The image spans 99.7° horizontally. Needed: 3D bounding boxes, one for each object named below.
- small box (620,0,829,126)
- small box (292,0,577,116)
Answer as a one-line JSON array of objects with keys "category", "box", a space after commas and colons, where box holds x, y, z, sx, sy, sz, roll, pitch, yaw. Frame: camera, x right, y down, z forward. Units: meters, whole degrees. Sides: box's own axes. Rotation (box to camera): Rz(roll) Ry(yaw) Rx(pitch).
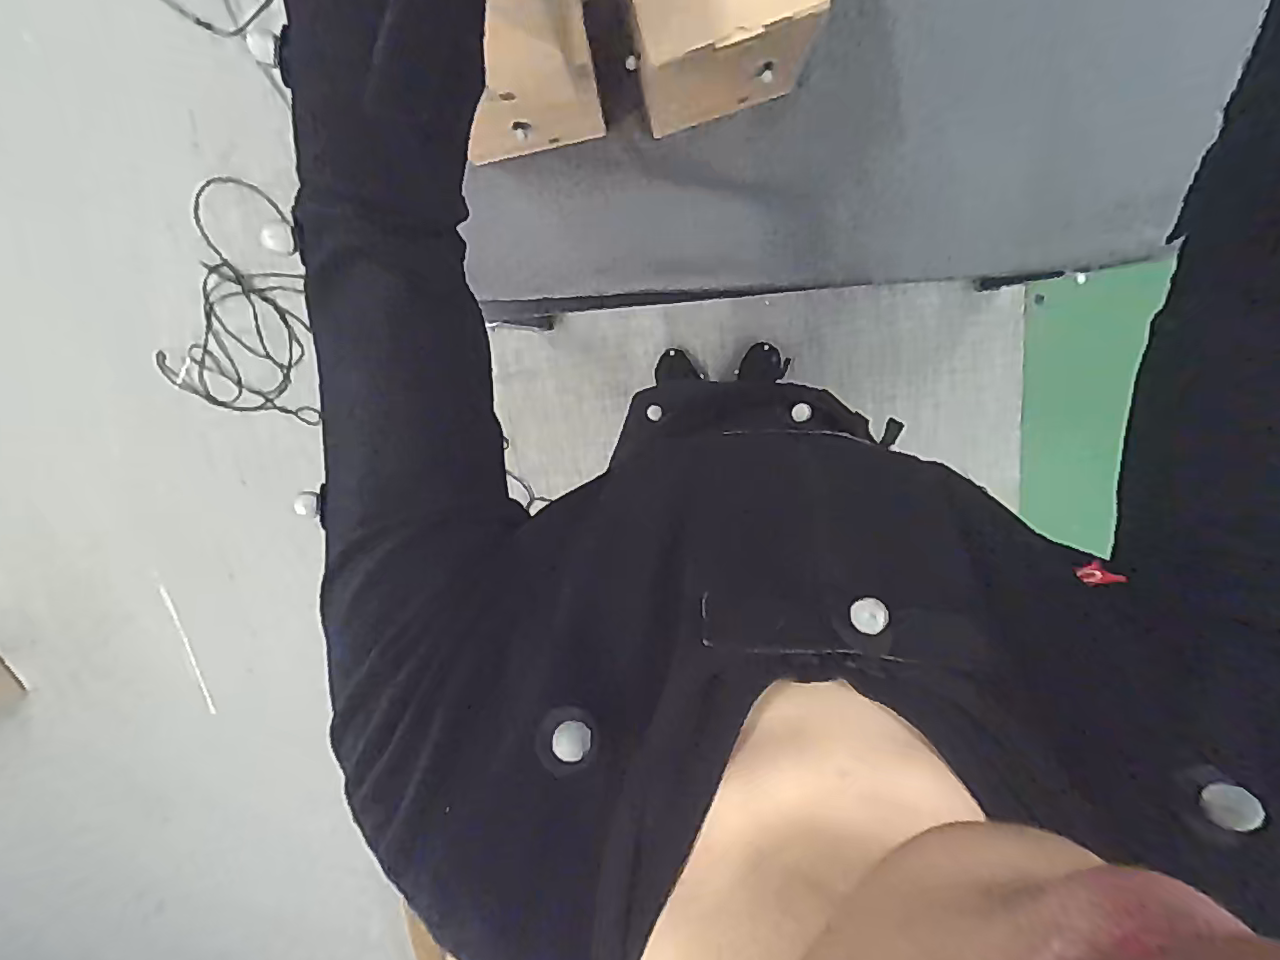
[{"category": "small box", "box": [0.069, -0.487, 0.537, 0.168, 0.176, 0.179, -15, 102, 5]}, {"category": "small box", "box": [-0.143, -0.404, 0.397, 0.168, 0.176, 0.179, -2, 104, 3]}]
